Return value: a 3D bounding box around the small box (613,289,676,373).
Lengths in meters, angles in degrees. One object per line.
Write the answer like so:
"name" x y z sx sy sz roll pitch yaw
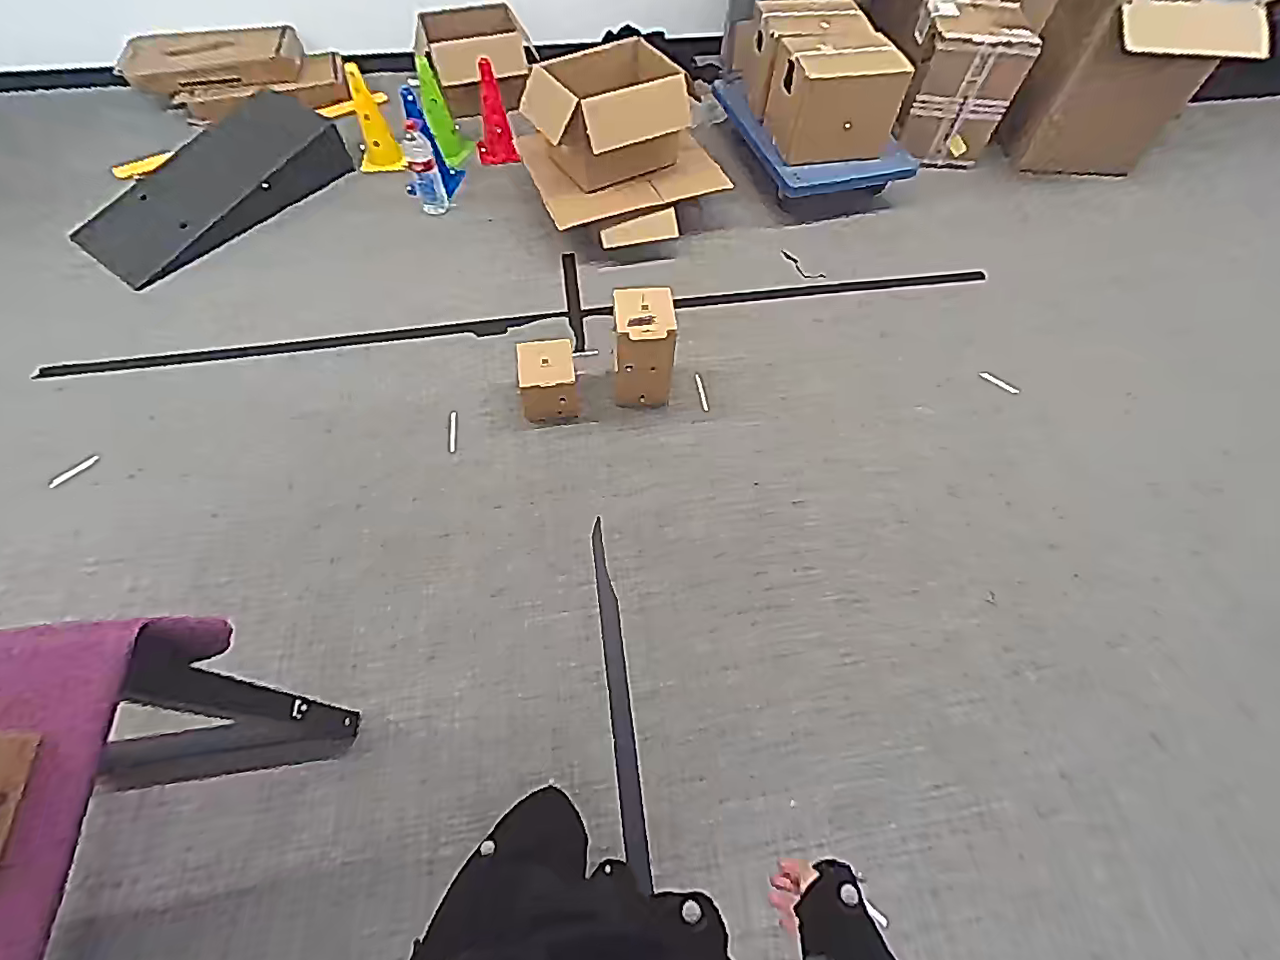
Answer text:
"small box" 0.010 -0.424 1.565 0.168 0.176 0.179 -4 59 -4

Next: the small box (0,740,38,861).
"small box" -0.703 0.318 0.455 0.179 0.176 0.168 -7 62 -5

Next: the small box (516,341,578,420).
"small box" -0.284 -0.301 1.675 0.168 0.176 0.179 -7 59 -7

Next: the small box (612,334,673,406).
"small box" 0.002 -0.347 1.711 0.179 0.176 0.168 -2 60 -4
